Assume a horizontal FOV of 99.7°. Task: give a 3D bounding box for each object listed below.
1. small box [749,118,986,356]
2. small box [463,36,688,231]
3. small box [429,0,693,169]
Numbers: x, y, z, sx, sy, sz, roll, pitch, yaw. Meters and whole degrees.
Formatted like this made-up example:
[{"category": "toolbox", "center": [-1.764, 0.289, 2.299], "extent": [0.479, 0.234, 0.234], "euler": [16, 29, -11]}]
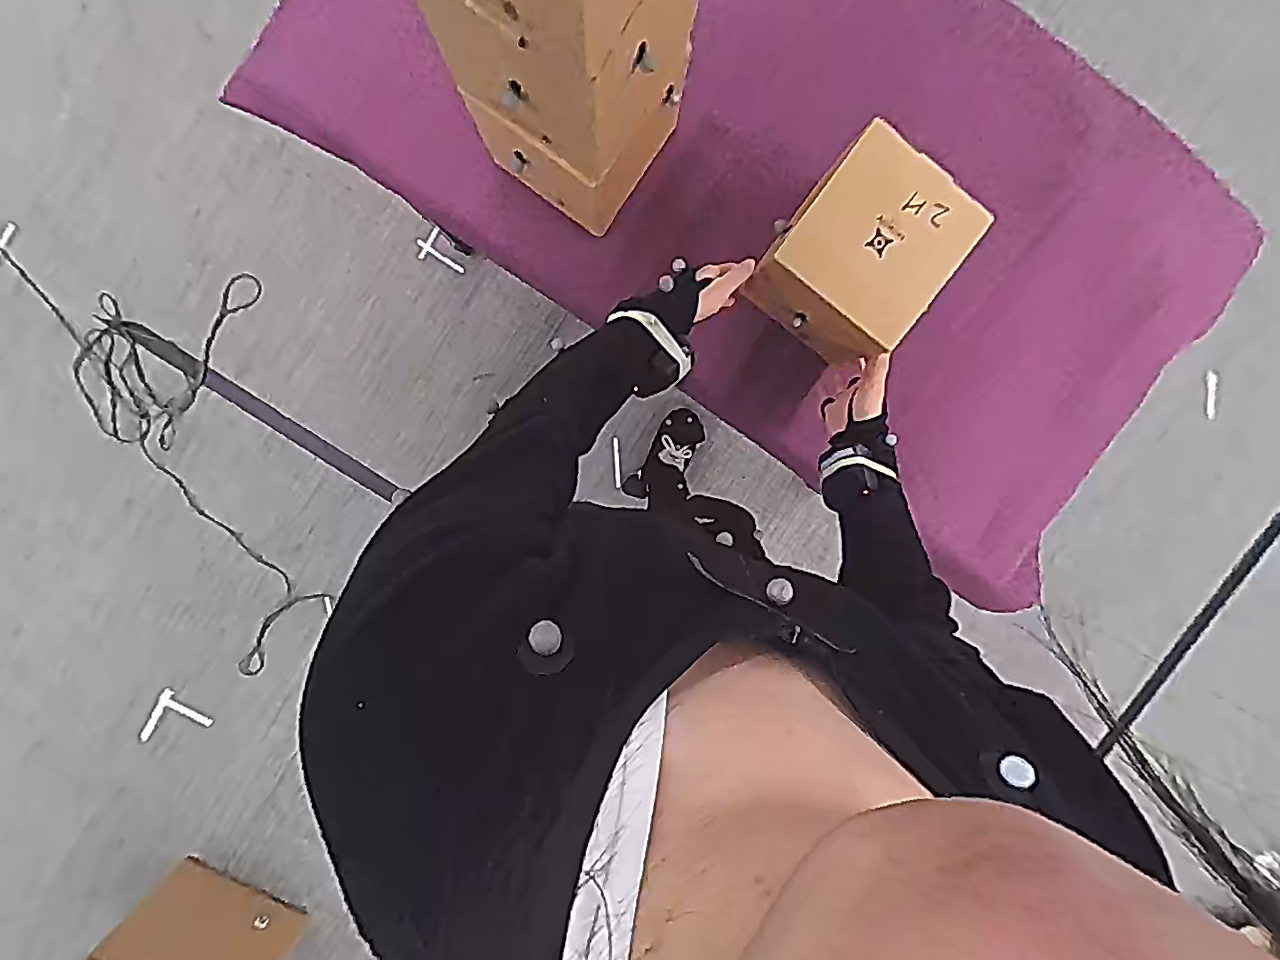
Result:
[{"category": "small box", "center": [0.251, -0.268, 0.651], "extent": [0.168, 0.176, 0.179], "euler": [36, 94, -7]}, {"category": "small box", "center": [-0.066, -0.424, 0.618], "extent": [0.168, 0.176, 0.179], "euler": [34, 94, -6]}, {"category": "small box", "center": [-0.057, -0.409, 0.455], "extent": [0.168, 0.176, 0.179], "euler": [32, 95, -7]}]
